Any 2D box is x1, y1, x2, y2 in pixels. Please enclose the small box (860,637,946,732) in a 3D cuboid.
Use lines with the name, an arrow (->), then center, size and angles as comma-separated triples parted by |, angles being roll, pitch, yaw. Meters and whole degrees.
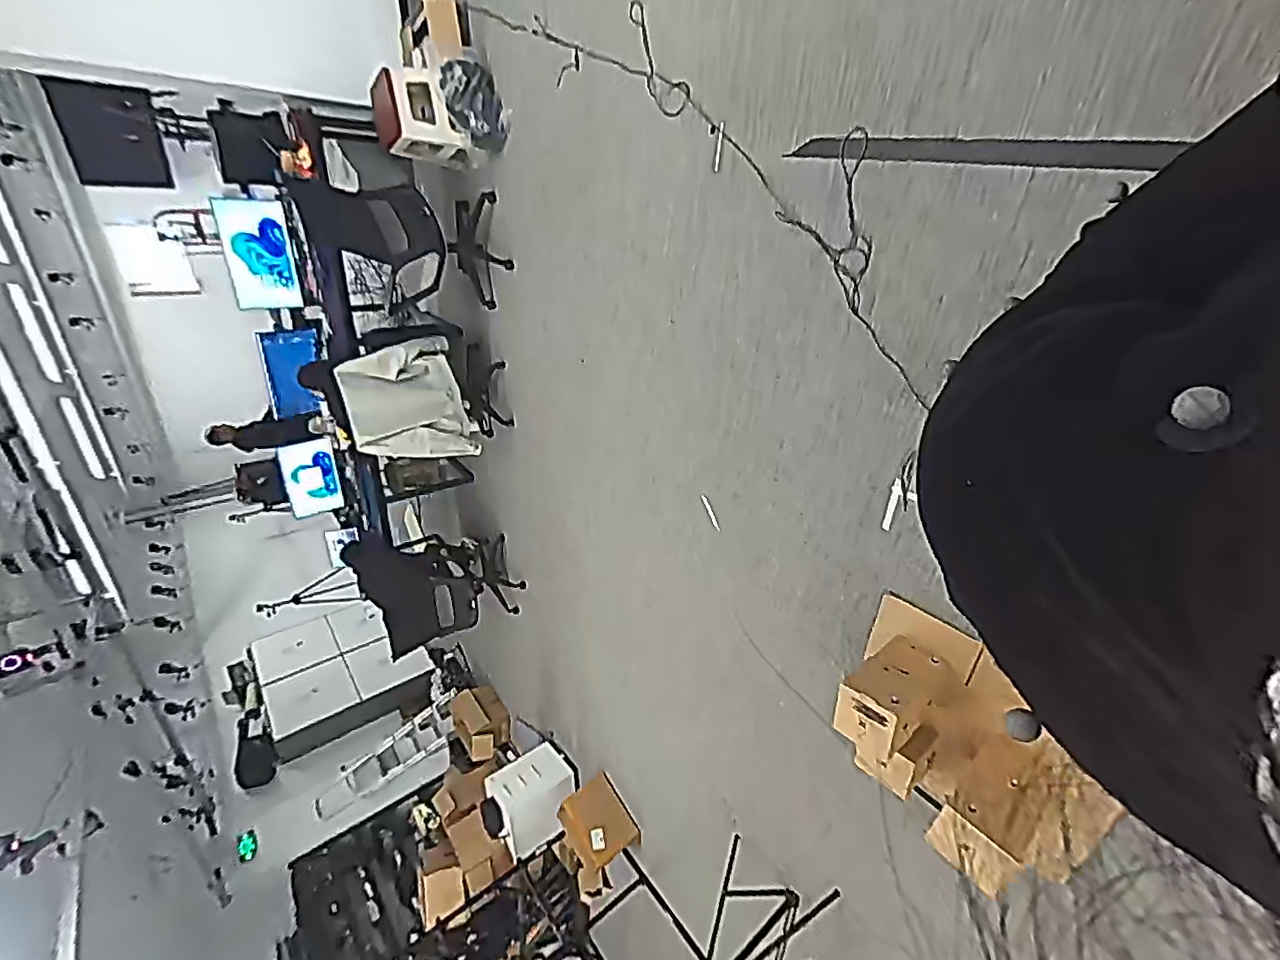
small box -> 0.799, 0.610, 1.638 | 0.168, 0.176, 0.179 | 26, 125, 44

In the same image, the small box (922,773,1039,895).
small box -> 0.872, 0.892, 1.386 | 0.179, 0.176, 0.168 | 34, 130, 38

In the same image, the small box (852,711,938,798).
small box -> 0.814, 0.855, 1.729 | 0.179, 0.176, 0.168 | 26, 125, 44

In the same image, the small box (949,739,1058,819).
small box -> 0.996, 0.847, 1.484 | 0.179, 0.176, 0.168 | 33, 129, 39
